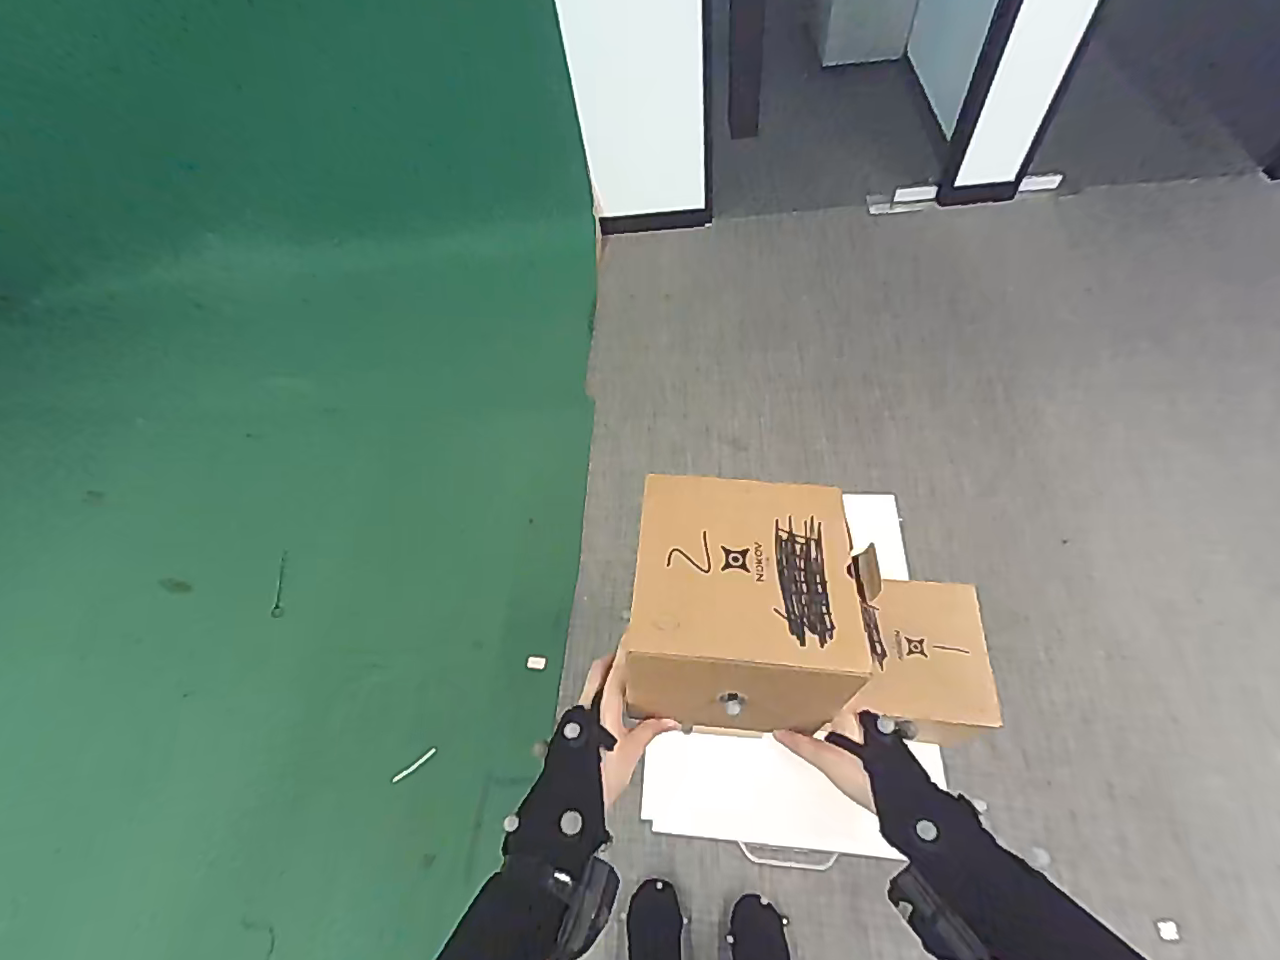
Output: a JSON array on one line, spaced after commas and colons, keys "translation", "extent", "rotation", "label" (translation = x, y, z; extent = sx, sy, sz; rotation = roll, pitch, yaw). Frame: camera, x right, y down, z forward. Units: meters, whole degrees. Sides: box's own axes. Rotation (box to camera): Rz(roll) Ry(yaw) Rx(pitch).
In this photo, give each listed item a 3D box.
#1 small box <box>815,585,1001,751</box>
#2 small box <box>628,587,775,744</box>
[{"translation": [0.330, 0.250, 0.711], "extent": [0.179, 0.176, 0.168], "rotation": [3, 58, 10], "label": "small box"}, {"translation": [0.088, 0.257, 0.740], "extent": [0.179, 0.176, 0.168], "rotation": [2, 59, 8], "label": "small box"}]
